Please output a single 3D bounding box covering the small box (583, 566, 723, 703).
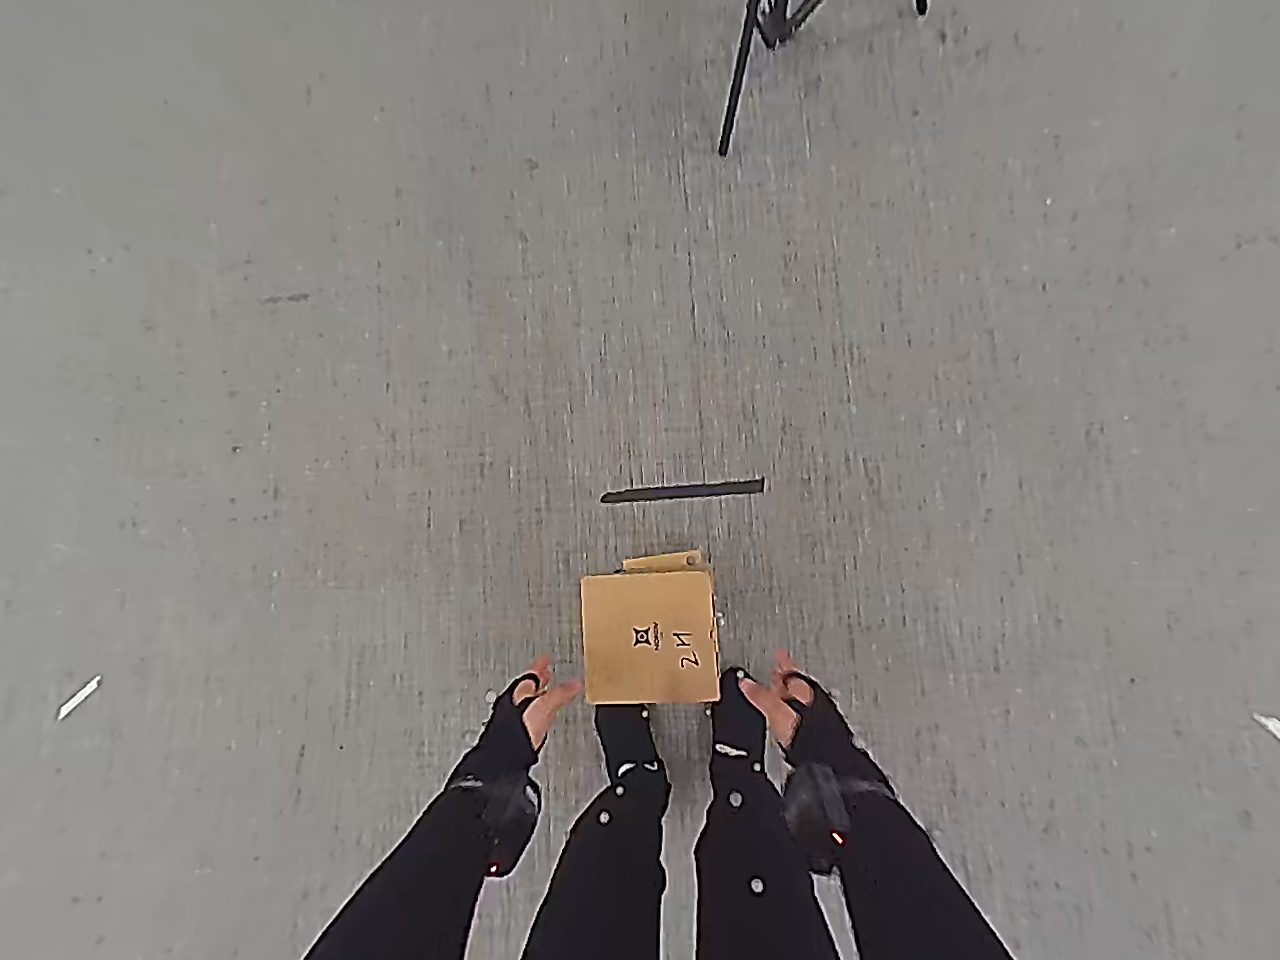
[{"bbox_3d":[0.024,0.210,0.768,0.179,0.176,0.168,-4,83,6],"label":"small box"}]

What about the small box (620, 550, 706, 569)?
[{"bbox_3d":[0.059,0.241,1.095,0.168,0.176,0.179,-9,82,5],"label":"small box"}]
